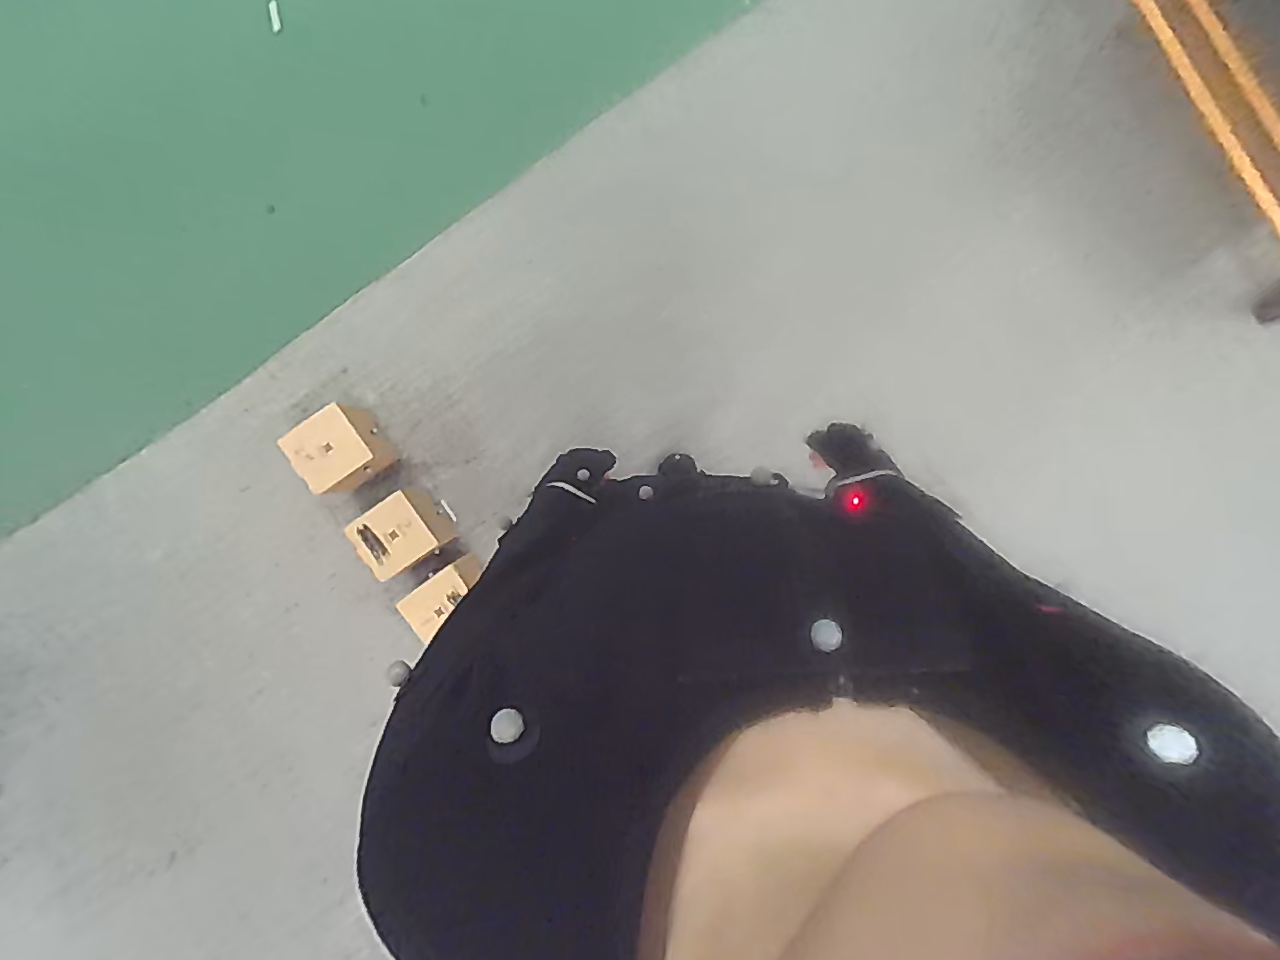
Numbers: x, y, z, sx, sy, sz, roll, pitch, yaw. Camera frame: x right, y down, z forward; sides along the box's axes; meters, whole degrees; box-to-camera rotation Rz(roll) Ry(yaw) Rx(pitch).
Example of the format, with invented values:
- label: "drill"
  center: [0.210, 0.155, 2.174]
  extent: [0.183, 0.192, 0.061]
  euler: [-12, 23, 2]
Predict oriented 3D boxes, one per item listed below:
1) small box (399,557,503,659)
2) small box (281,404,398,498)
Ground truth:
- label: "small box"
  center: [-0.476, 0.320, 1.398]
  extent: [0.179, 0.176, 0.168]
  euler: [-36, 93, 2]
- label: "small box"
  center: [-0.752, -0.074, 1.383]
  extent: [0.179, 0.176, 0.168]
  euler: [-35, 92, 1]
